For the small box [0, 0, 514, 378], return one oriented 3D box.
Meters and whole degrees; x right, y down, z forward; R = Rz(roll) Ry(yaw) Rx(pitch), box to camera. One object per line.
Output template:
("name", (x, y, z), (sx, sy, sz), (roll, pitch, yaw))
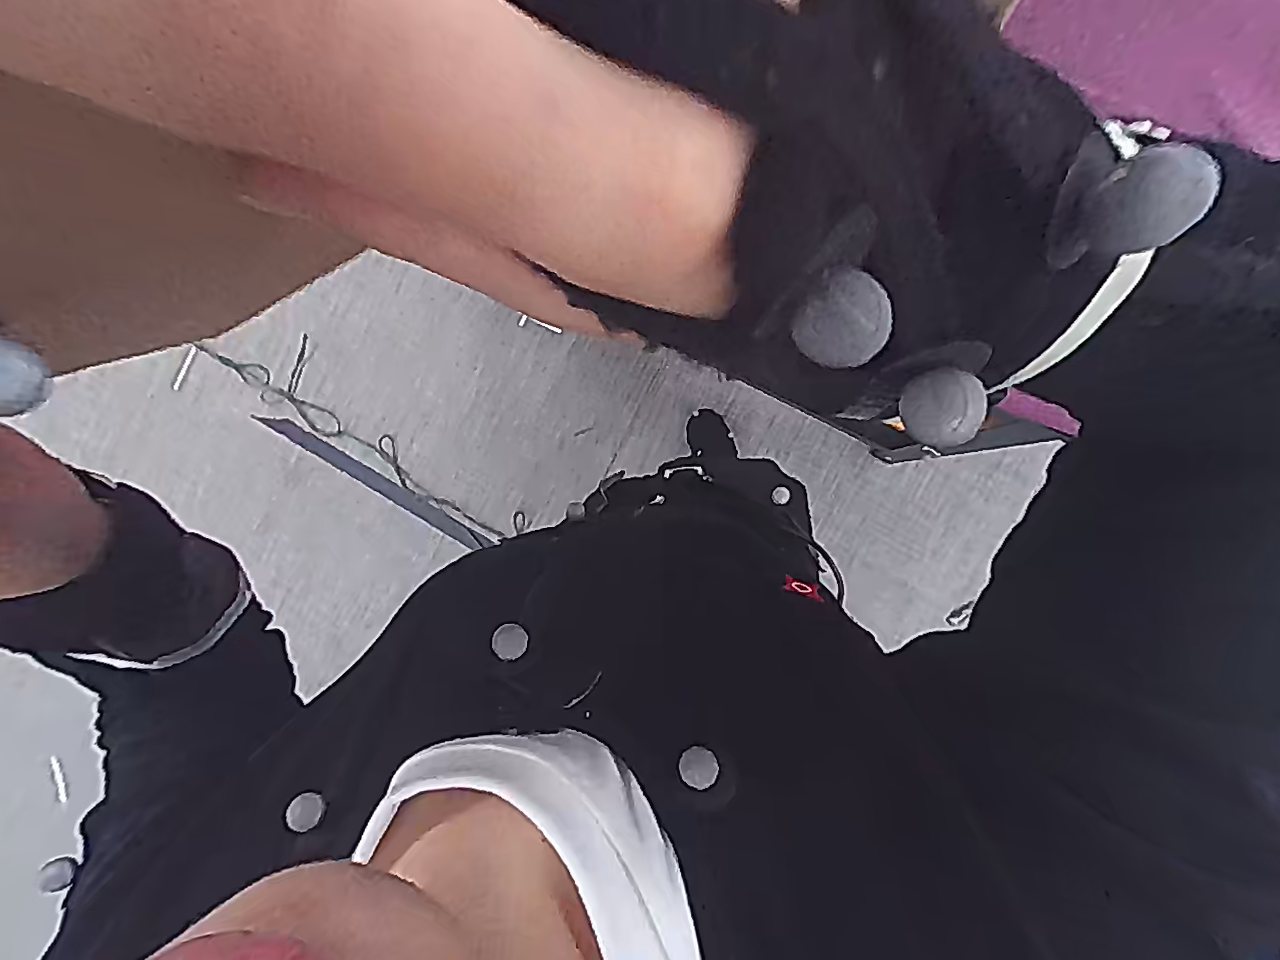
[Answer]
("small box", (-0.143, -0.120, 0.097), (0.179, 0.176, 0.168), (-19, 114, 17))
